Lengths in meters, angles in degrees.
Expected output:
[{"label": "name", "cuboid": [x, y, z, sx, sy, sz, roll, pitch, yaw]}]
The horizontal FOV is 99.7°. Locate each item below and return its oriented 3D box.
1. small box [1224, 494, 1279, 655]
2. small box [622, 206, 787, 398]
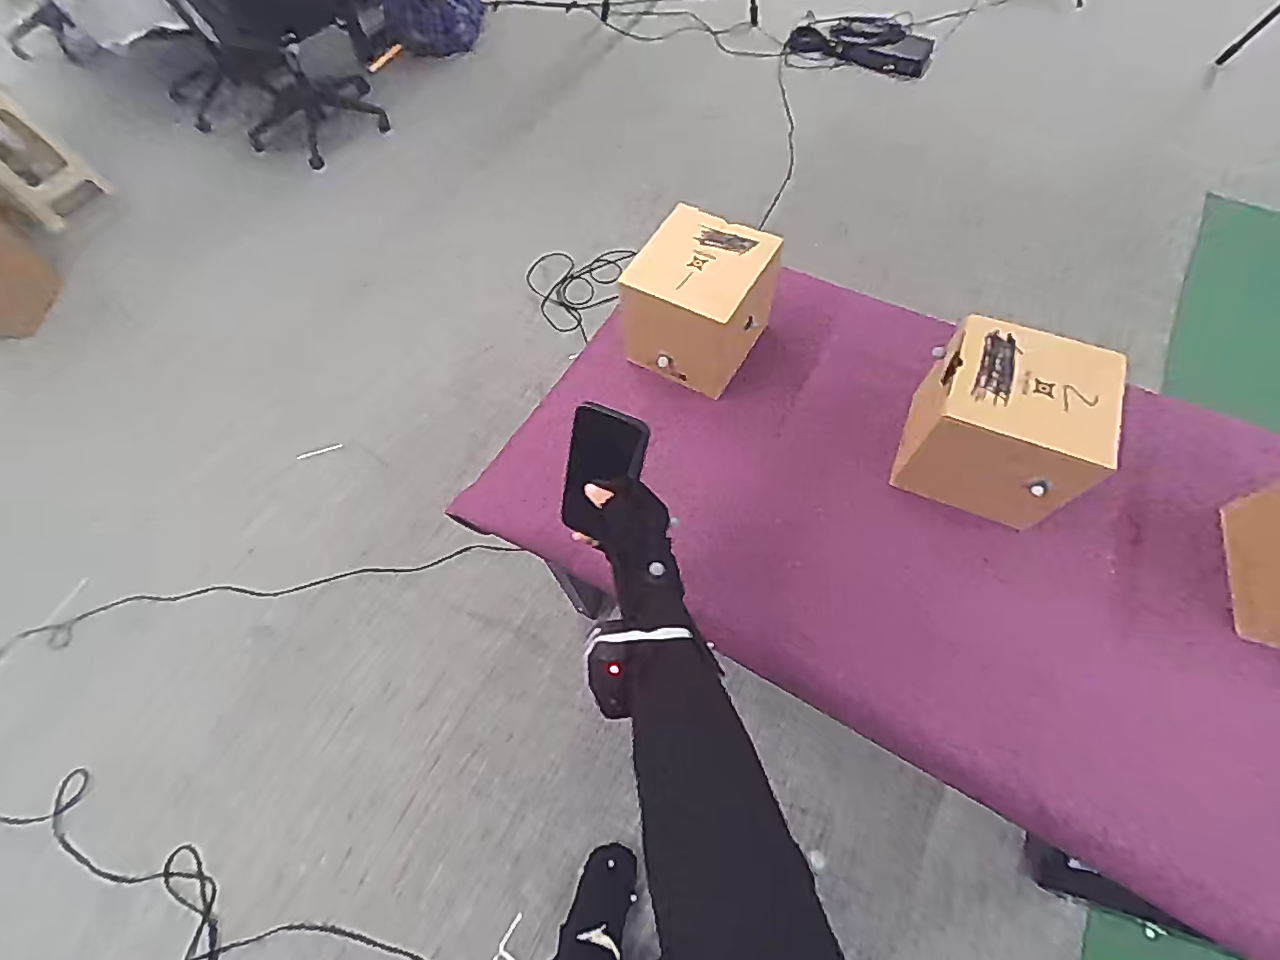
[{"label": "small box", "cuboid": [0.783, 0.107, 0.567, 0.168, 0.176, 0.179, 17, 64, 12]}, {"label": "small box", "cuboid": [0.091, -0.256, 0.795, 0.168, 0.176, 0.179, 28, 69, 17]}]
